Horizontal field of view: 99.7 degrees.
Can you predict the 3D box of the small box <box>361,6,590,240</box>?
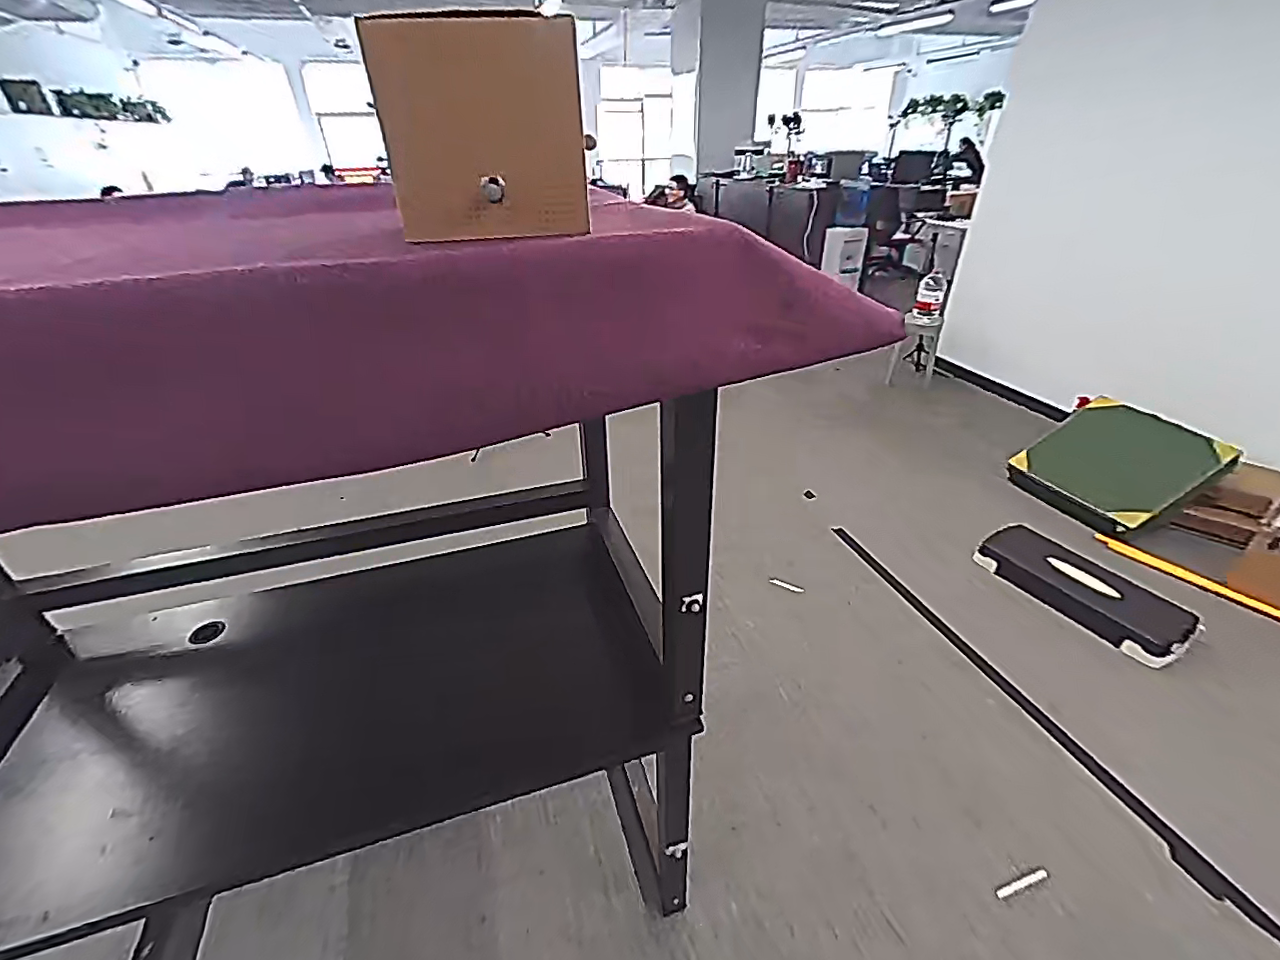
[{"bbox_3d":[-0.141,-0.343,0.537,0.179,0.176,0.168,-5,32,-6],"label":"small box"}]
